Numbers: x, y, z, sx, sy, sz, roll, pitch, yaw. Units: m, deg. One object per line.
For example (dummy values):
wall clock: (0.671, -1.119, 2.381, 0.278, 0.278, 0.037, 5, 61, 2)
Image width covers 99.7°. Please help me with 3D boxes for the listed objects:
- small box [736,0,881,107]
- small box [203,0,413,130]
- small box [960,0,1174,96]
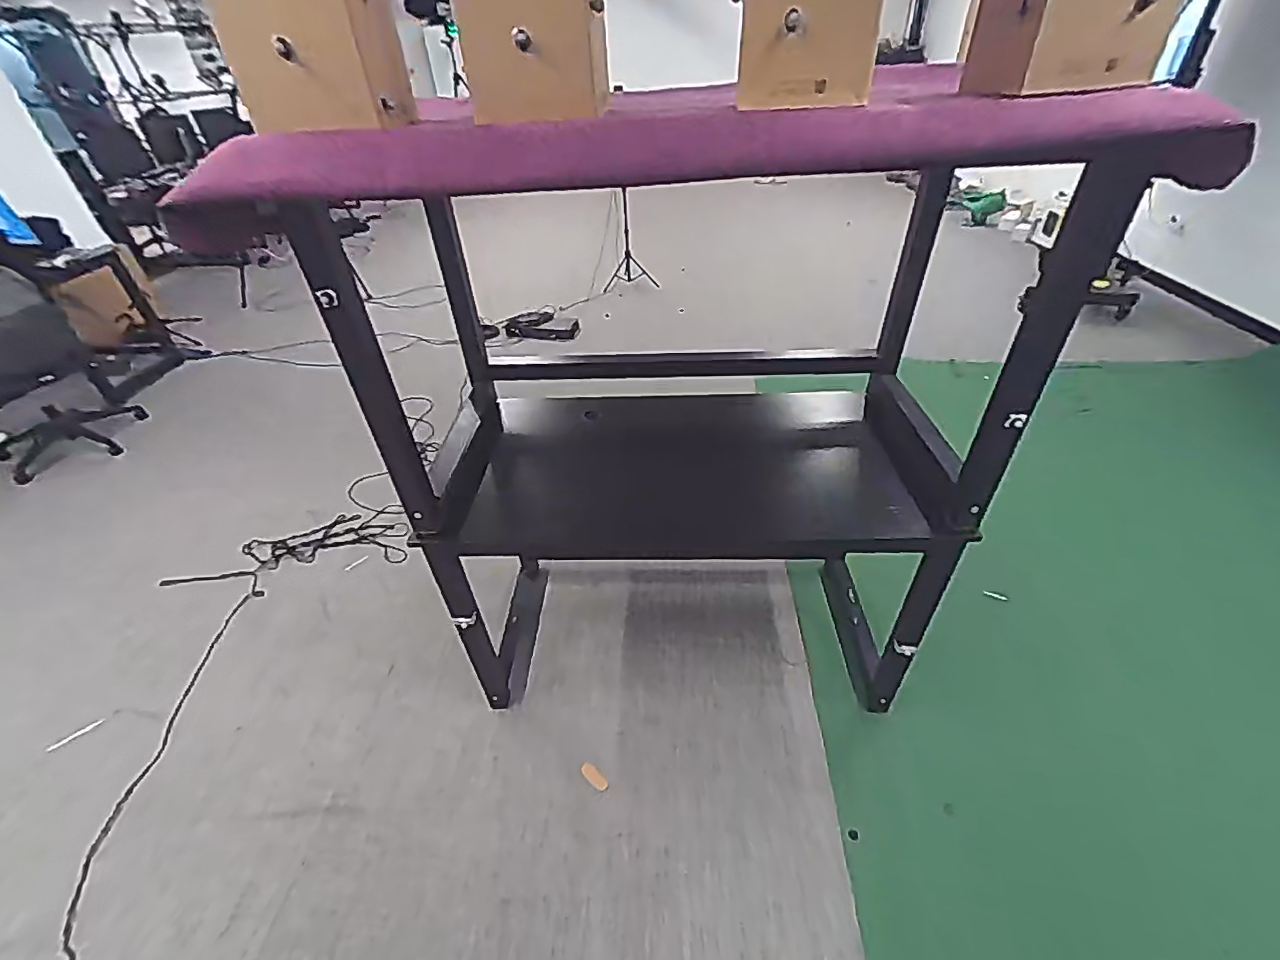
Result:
small box: (0.219, -0.606, 0.724, 0.168, 0.176, 0.179, 3, 37, 7)
small box: (-0.436, -0.590, 0.737, 0.179, 0.176, 0.168, -2, 39, 1)
small box: (0.561, -0.615, 0.711, 0.168, 0.176, 0.179, -2, 36, 2)
